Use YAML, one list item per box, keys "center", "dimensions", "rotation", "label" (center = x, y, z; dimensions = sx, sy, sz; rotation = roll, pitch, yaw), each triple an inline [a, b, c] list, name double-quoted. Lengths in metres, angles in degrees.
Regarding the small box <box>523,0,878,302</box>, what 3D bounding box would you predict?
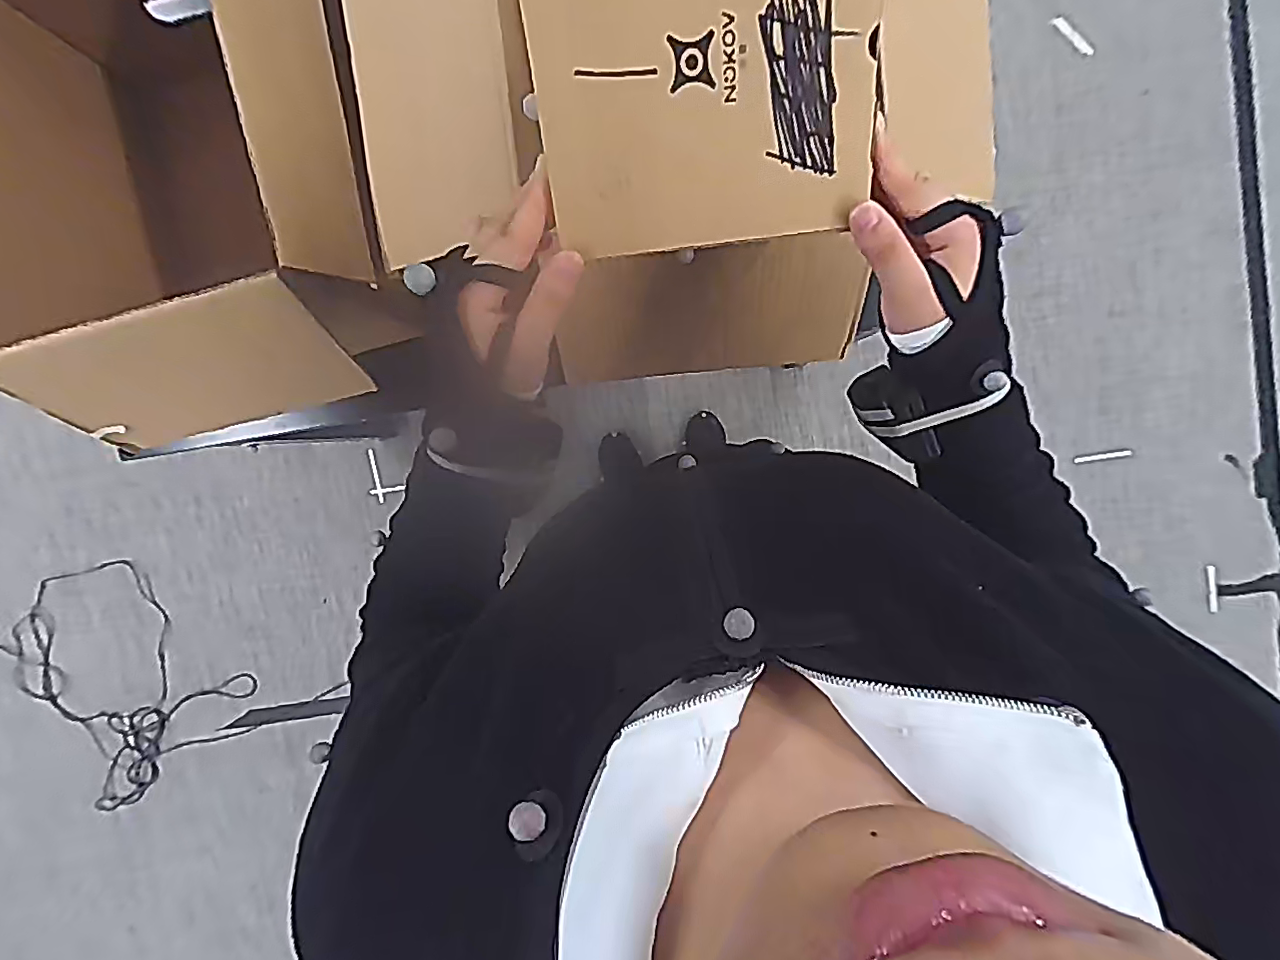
- center: [0.031, -0.224, 0.356]
  dimensions: [0.179, 0.176, 0.168]
  rotation: [-7, 118, 0]
  label: "small box"
